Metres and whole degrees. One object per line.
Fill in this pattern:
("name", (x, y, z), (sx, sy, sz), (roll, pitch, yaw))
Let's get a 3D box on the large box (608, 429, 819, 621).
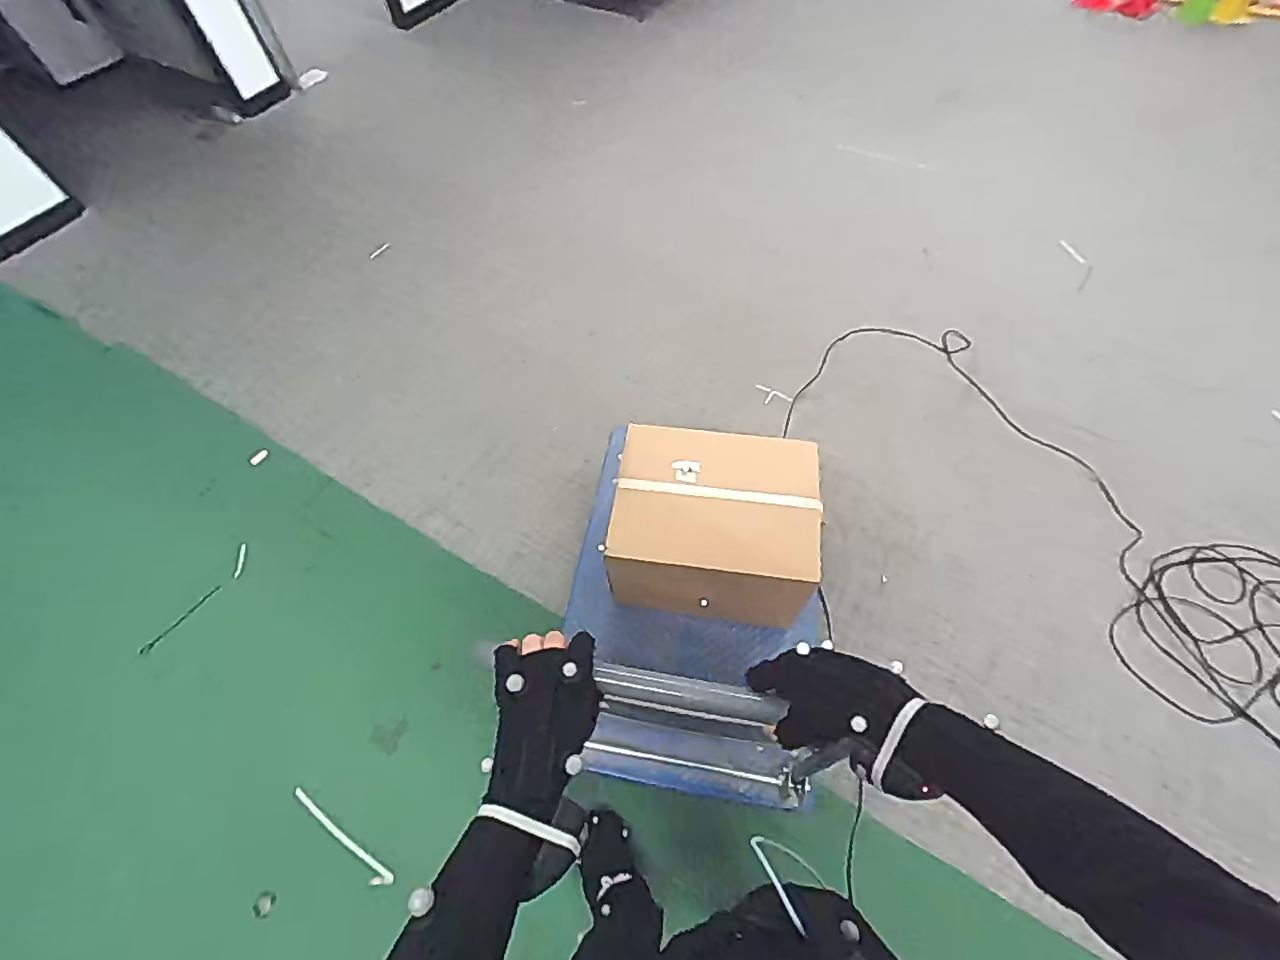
("large box", (0.162, 0.109, 1.215), (0.408, 0.320, 0.320), (5, 59, 7))
